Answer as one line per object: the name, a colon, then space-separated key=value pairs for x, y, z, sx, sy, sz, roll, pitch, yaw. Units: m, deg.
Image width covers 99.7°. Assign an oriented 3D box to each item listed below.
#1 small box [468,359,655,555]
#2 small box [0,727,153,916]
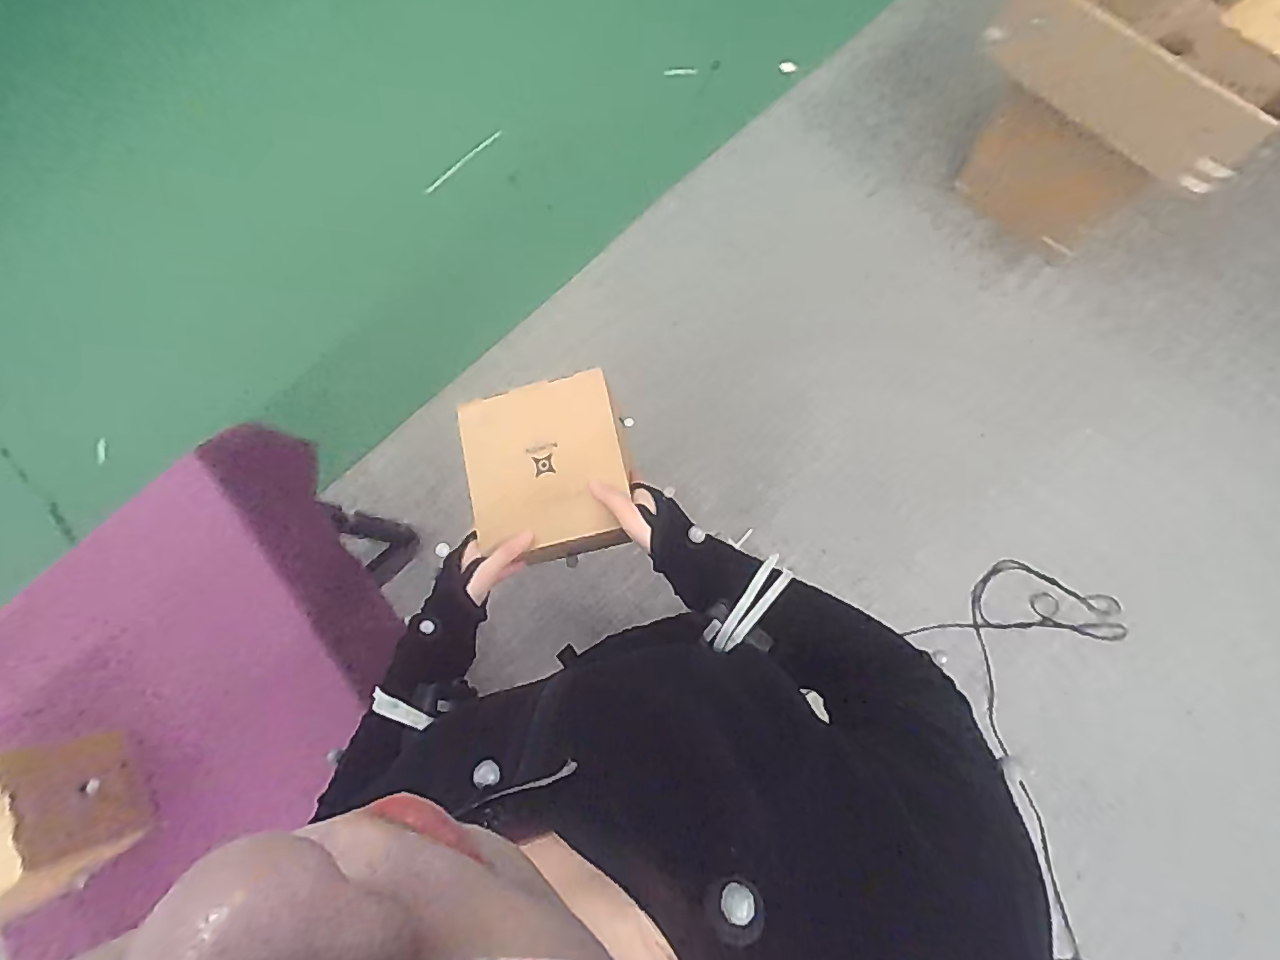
small box: x=-0.083 y=-0.015 z=0.640 sx=0.168 sy=0.176 sz=0.179 roll=-13 pitch=78 yaw=5
small box: x=-0.828 y=0.470 z=0.744 sx=0.179 sy=0.176 sz=0.168 roll=-35 pitch=74 yaw=-3
